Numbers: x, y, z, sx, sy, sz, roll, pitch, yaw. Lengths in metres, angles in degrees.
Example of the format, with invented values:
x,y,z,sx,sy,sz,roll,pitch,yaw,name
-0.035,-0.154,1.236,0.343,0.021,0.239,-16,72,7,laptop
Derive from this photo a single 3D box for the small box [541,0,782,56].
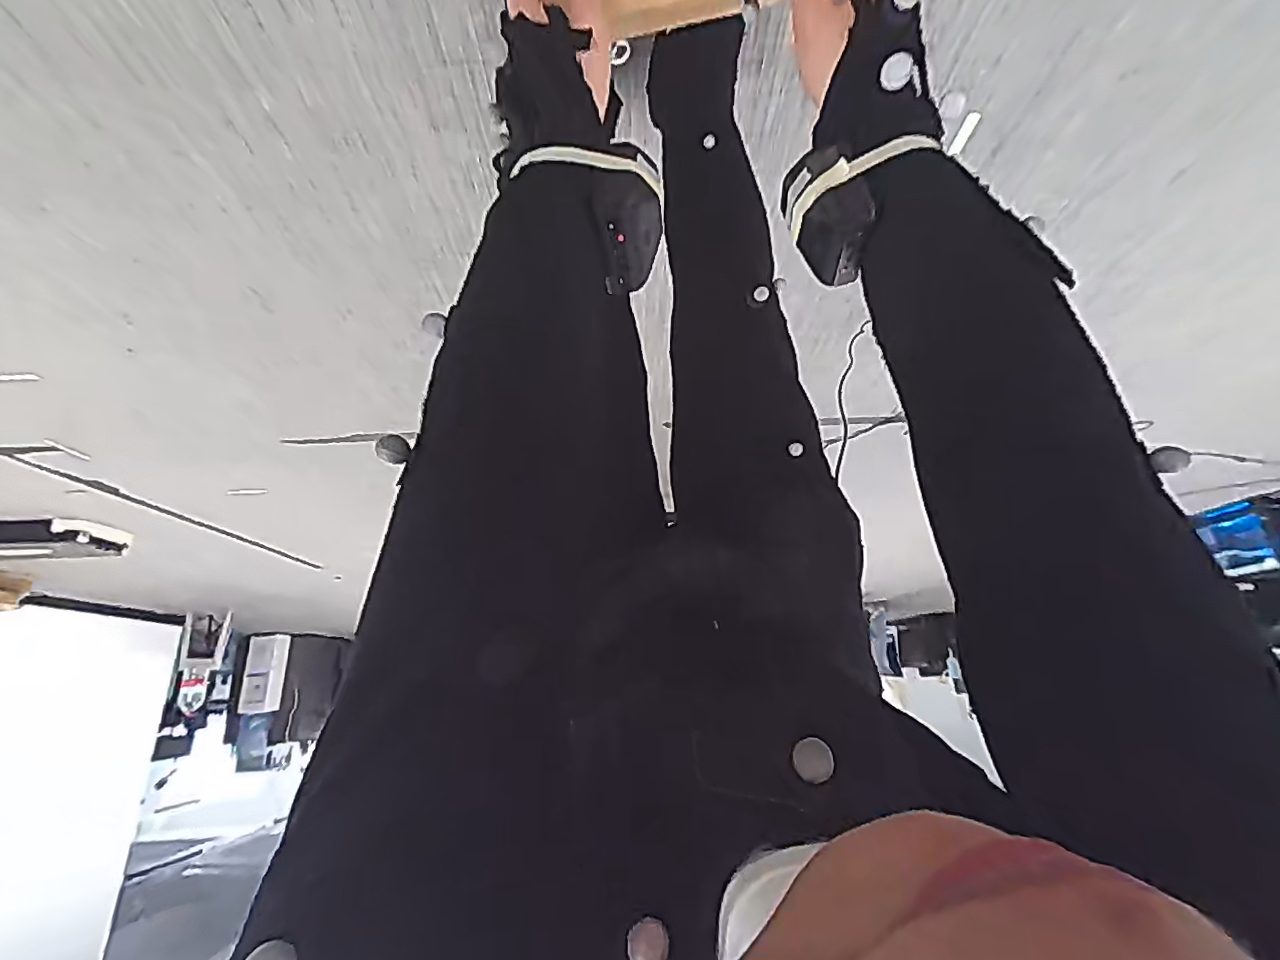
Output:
x,y,z,sx,sy,sz,roll,pitch,yaw,name
0.017,-0.404,0.360,0.179,0.176,0.168,-8,126,8,small box
